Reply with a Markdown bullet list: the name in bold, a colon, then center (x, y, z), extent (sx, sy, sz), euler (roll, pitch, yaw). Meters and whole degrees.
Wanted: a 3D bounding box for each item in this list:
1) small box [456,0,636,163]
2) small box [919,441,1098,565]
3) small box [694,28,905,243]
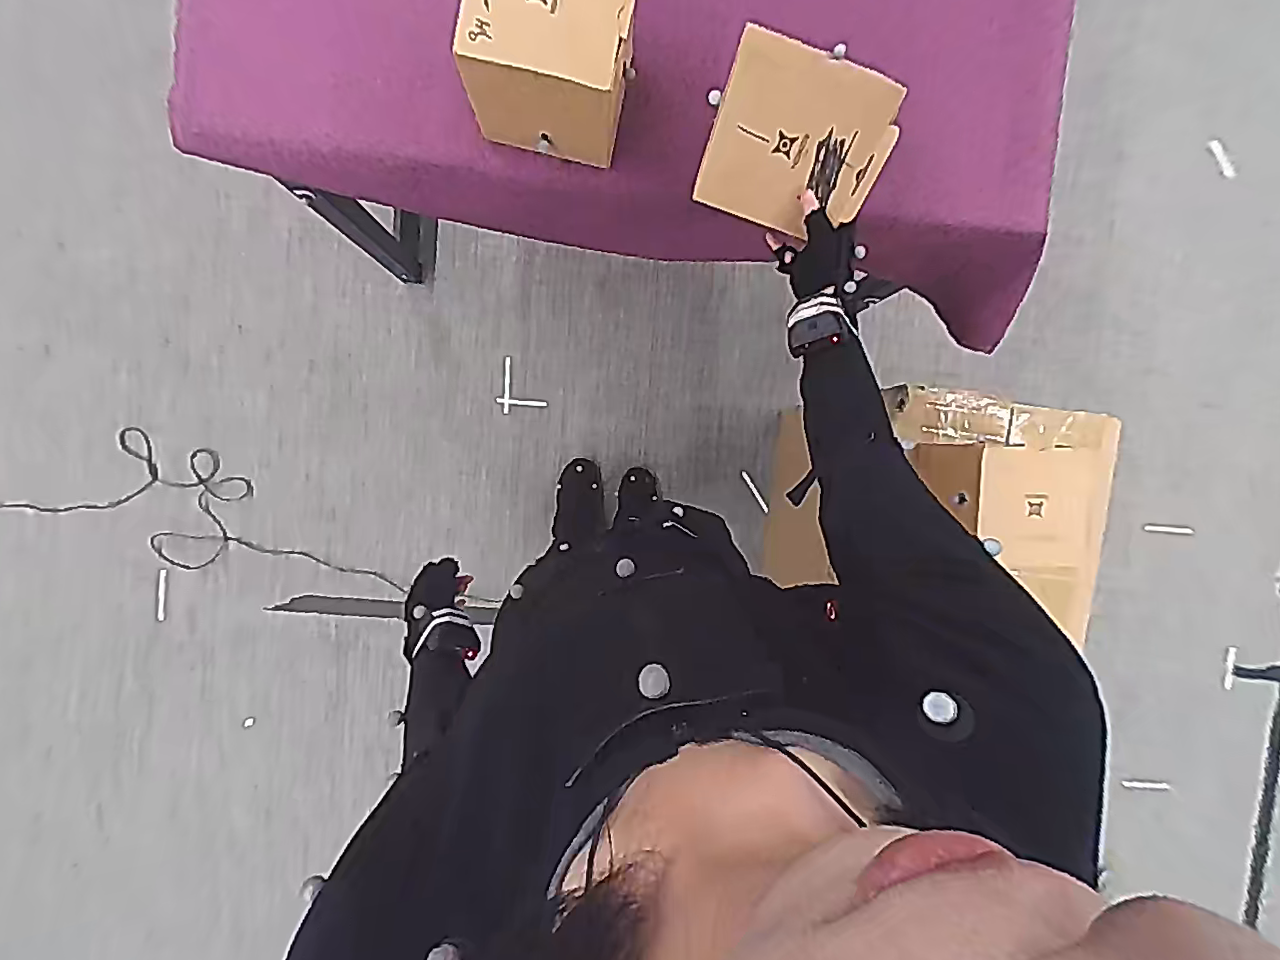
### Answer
- **small box**: center (-0.104, -0.524, 0.662), extent (0.179, 0.176, 0.168), euler (11, 92, -6)
- **small box**: center (0.558, 0.029, 0.841), extent (0.168, 0.176, 0.179), euler (1, 94, -1)
- **small box**: center (0.179, -0.419, 0.653), extent (0.179, 0.176, 0.168), euler (18, 131, -4)
